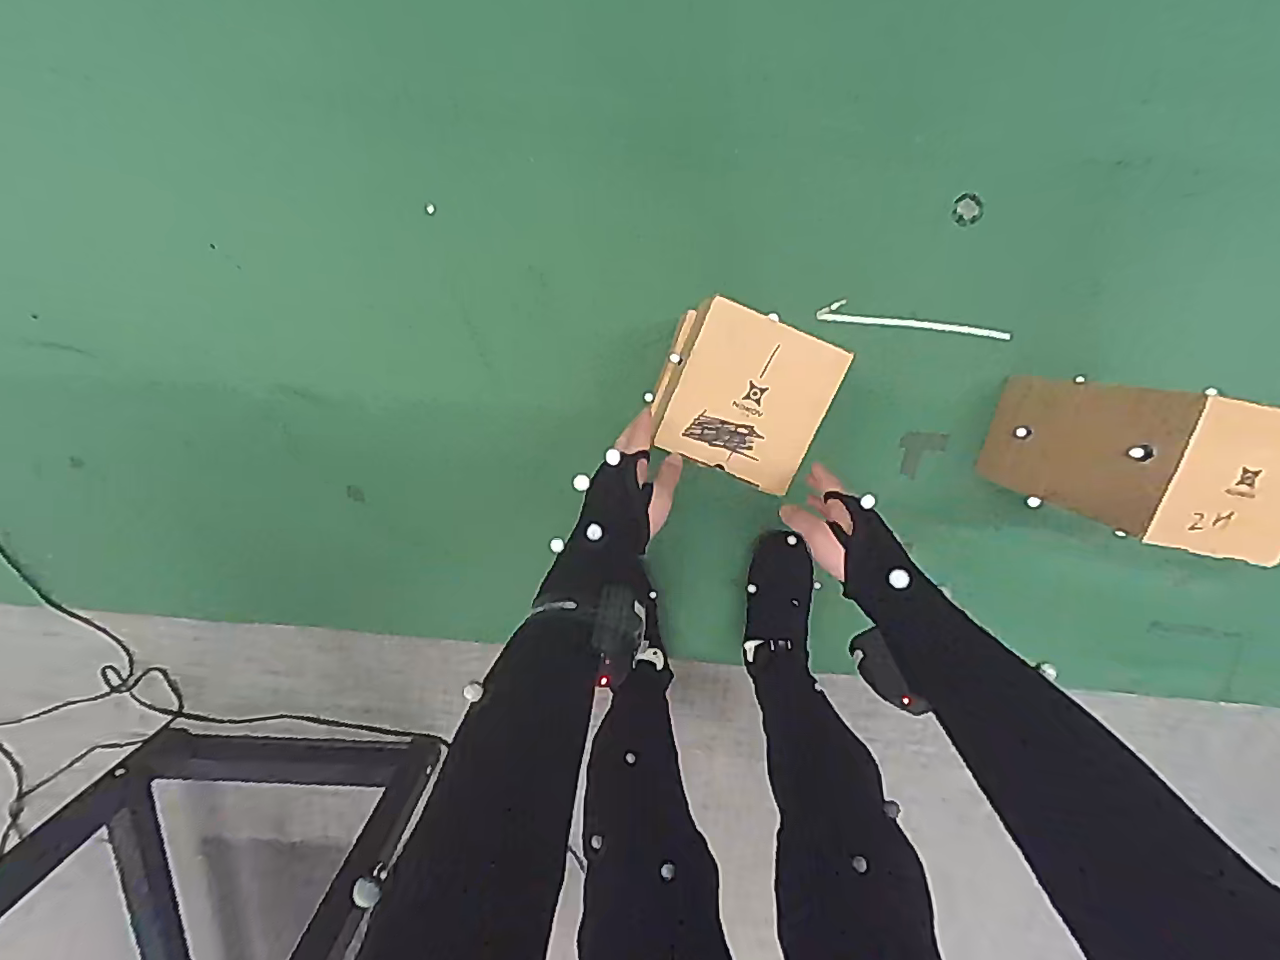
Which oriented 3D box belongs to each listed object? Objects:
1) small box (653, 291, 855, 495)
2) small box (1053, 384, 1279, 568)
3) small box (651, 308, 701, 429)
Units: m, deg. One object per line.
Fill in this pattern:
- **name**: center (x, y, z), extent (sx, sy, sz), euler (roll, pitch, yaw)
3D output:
- **small box**: center (0.125, -0.110, 0.663), extent (0.168, 0.176, 0.179), euler (22, 104, -5)
- **small box**: center (0.672, -0.016, 0.674), extent (0.168, 0.176, 0.179), euler (11, 105, -2)
- **small box**: center (0.119, -0.147, 0.823), extent (0.168, 0.176, 0.179), euler (19, 106, -4)
